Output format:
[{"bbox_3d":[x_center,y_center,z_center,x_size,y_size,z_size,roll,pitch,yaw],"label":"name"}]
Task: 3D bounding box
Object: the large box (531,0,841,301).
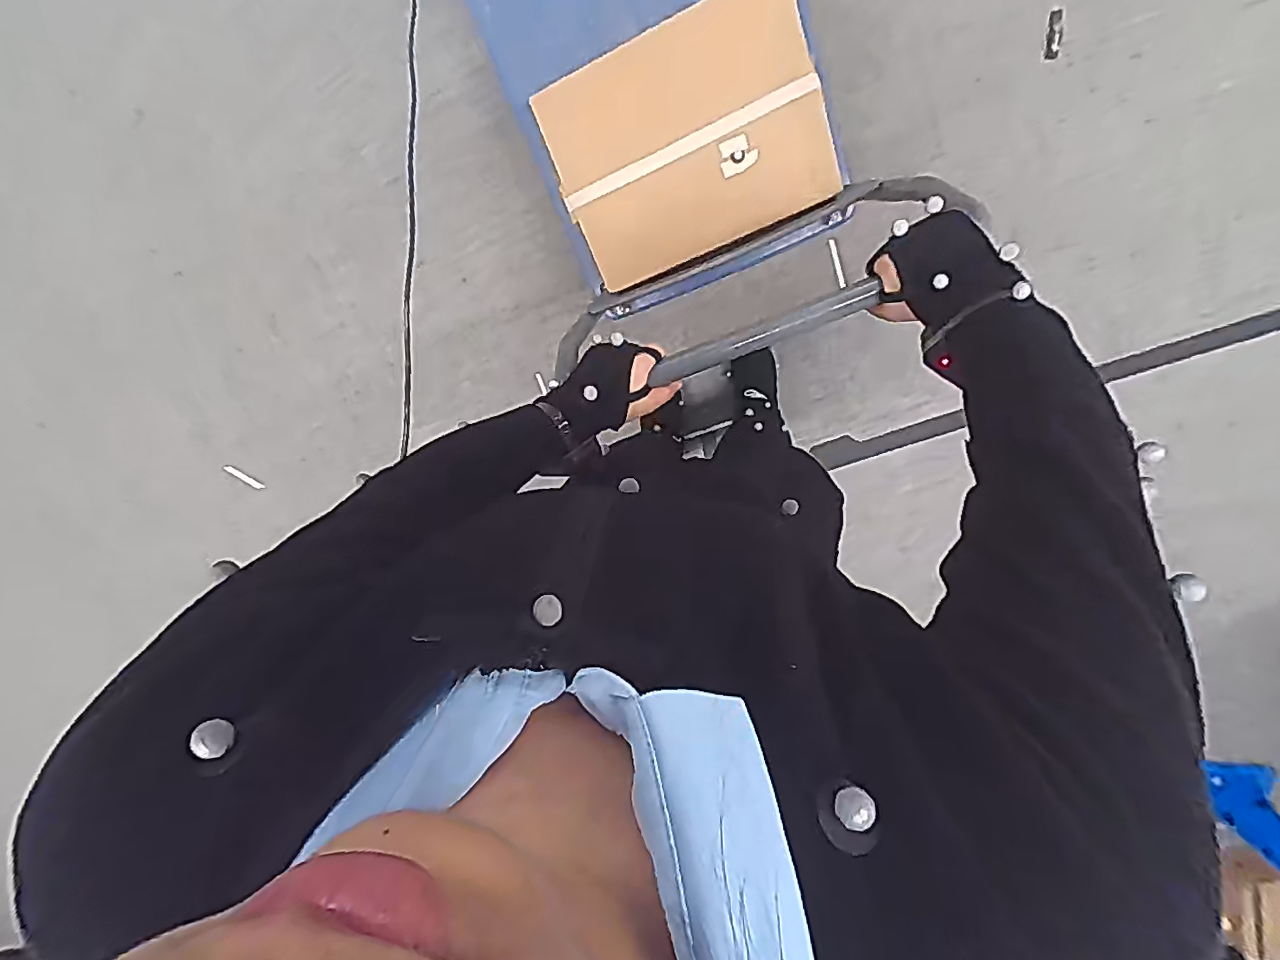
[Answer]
[{"bbox_3d":[0.083,-0.555,0.961,0.408,0.320,0.320,-20,110,13],"label":"large box"}]
